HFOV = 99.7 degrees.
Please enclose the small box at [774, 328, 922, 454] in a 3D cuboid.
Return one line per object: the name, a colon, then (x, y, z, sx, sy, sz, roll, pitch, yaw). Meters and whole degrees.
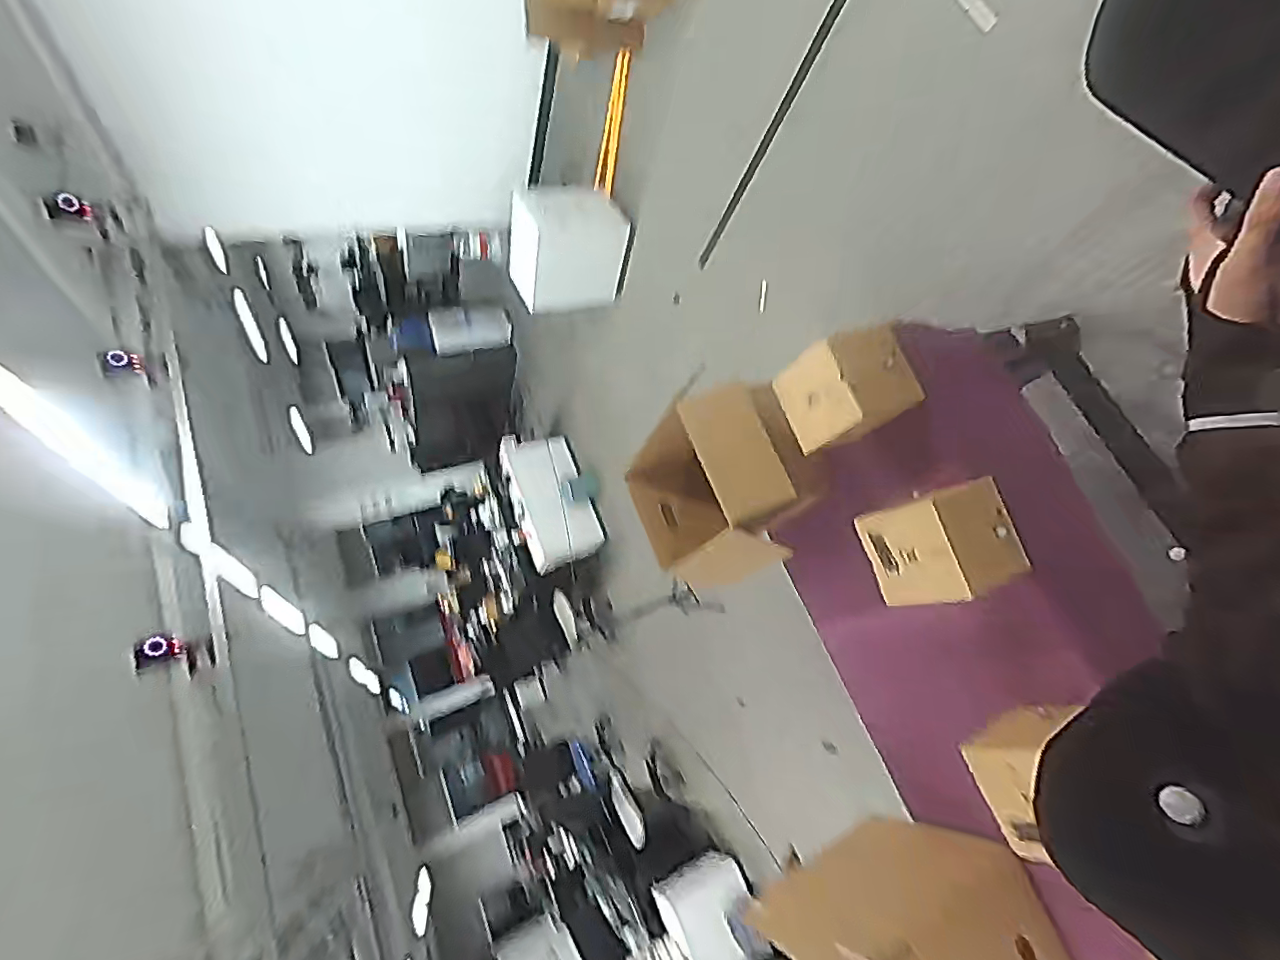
small box: (0.403, -0.172, 1.057, 0.168, 0.176, 0.179, 67, 155, 11)
